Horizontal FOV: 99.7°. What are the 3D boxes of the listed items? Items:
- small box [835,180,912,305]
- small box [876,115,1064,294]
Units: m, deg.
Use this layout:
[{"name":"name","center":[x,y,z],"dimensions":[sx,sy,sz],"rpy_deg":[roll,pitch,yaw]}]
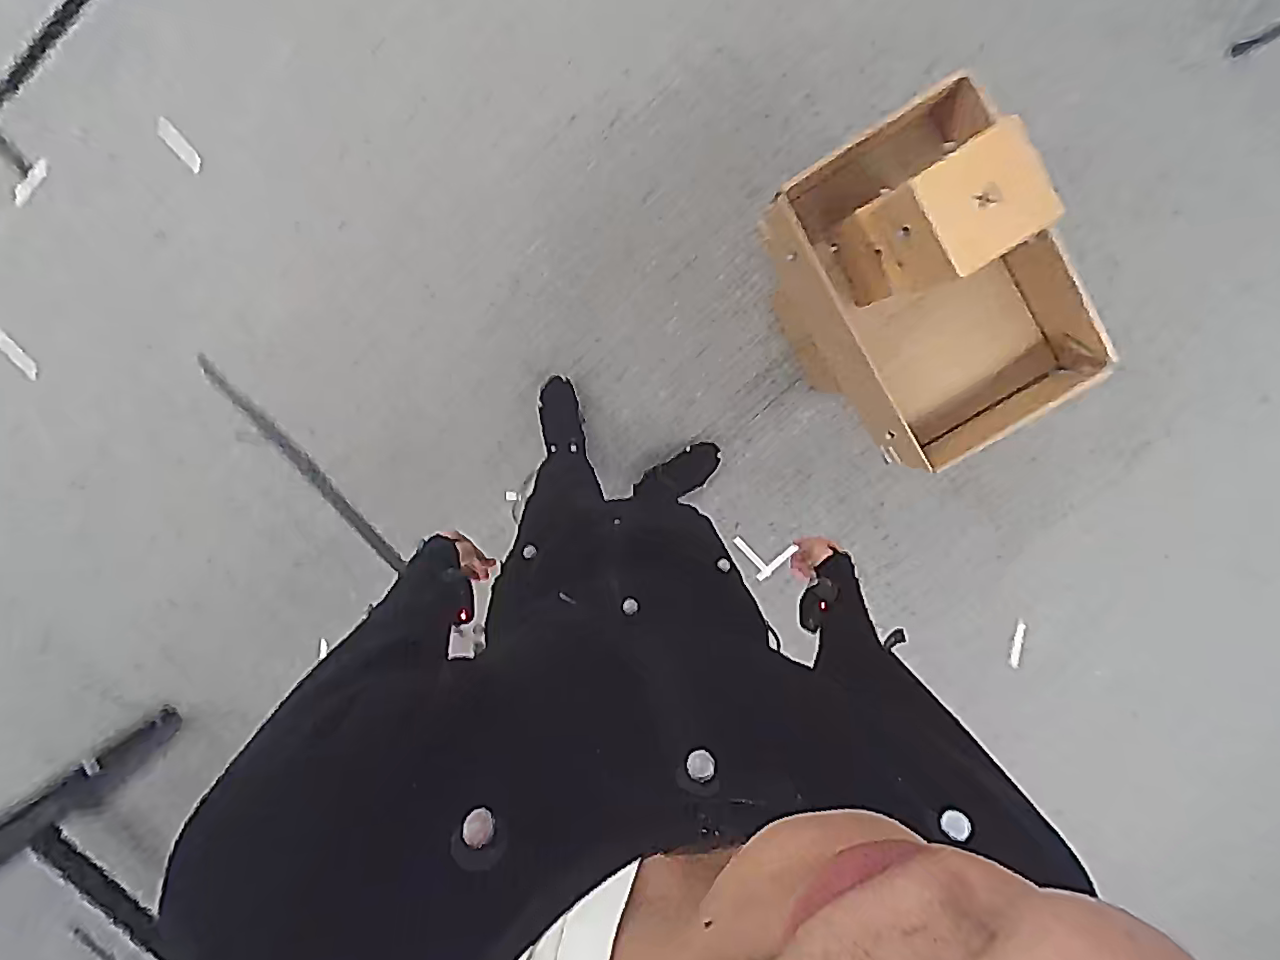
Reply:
[{"name":"small box","center":[0.495,-0.453,1.028],"dimensions":[0.179,0.176,0.168],"rpy_deg":[-28,99,4]},{"name":"small box","center":[0.508,-0.423,0.868],"dimensions":[0.179,0.176,0.168],"rpy_deg":[-32,98,5]}]
